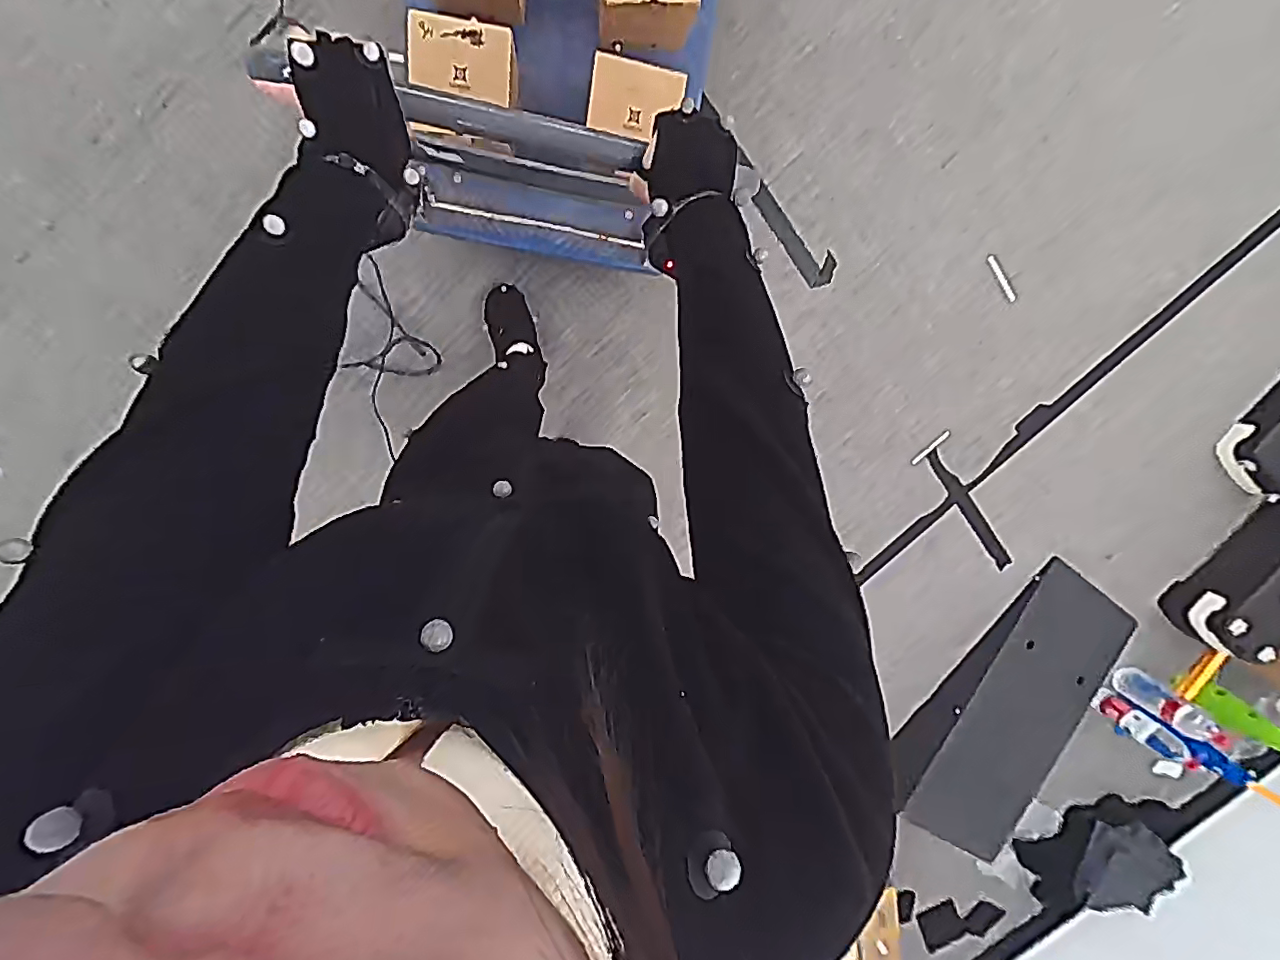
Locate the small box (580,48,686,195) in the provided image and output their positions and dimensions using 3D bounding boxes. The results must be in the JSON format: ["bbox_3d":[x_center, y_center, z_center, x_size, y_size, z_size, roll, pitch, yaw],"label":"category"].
[{"bbox_3d":[-0.023,-0.669,1.035,0.168,0.176,0.179,7,105,-11],"label":"small box"}]

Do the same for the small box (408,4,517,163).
[{"bbox_3d":[-0.314,-0.700,0.980,0.168,0.176,0.179,4,106,-10],"label":"small box"}]

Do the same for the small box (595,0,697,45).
[{"bbox_3d":[0.007,-0.915,0.964,0.168,0.176,0.179,-5,106,-7],"label":"small box"}]
